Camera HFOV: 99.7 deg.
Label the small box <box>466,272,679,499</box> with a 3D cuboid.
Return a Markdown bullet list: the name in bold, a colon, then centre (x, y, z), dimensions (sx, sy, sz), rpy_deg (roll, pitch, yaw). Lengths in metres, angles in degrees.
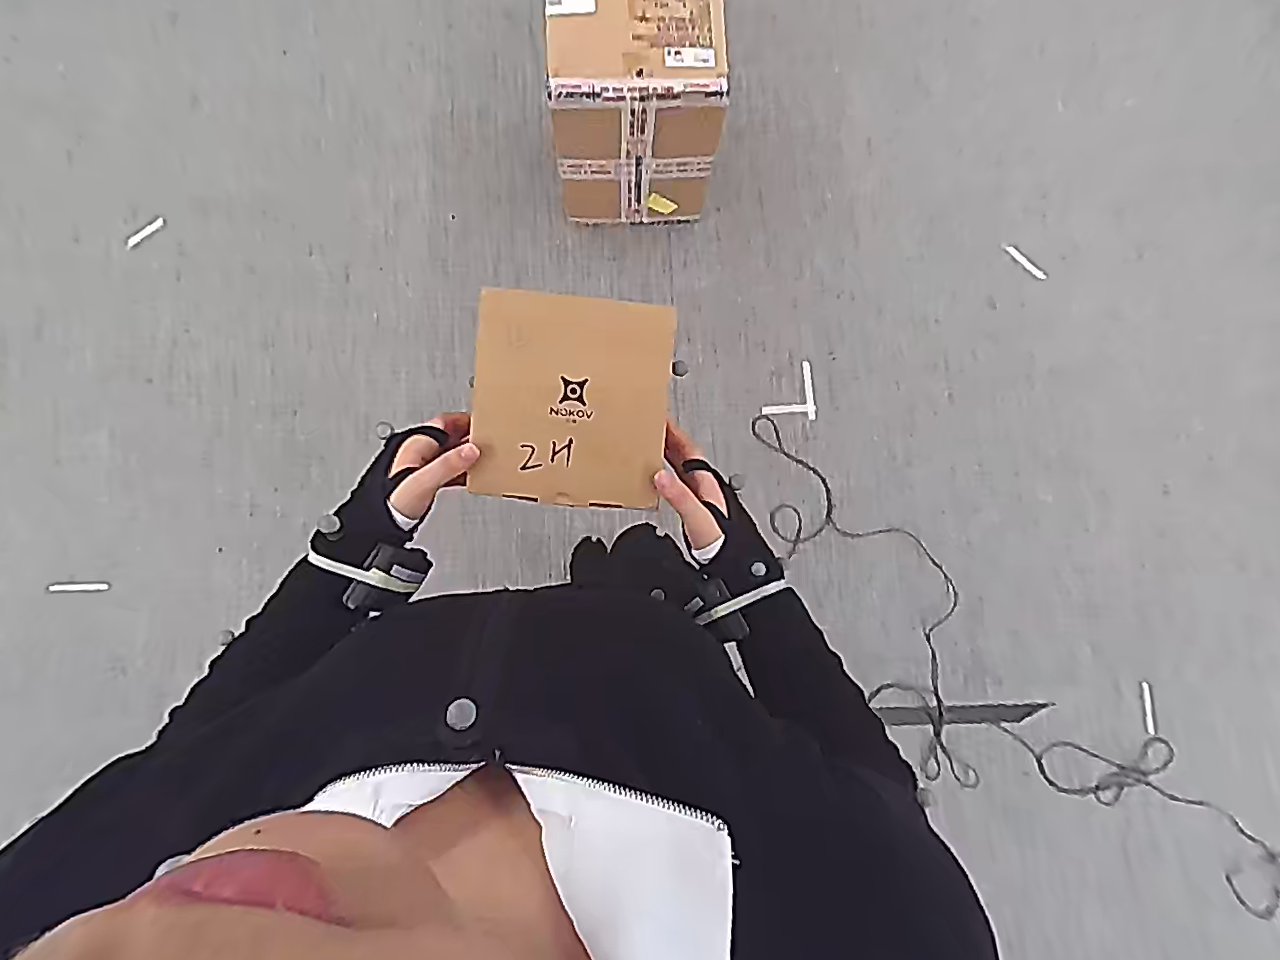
- **small box**: centre (-0.060, -0.082, 0.533), dimensions (0.168, 0.176, 0.179), rpy_deg (6, 94, -2)
